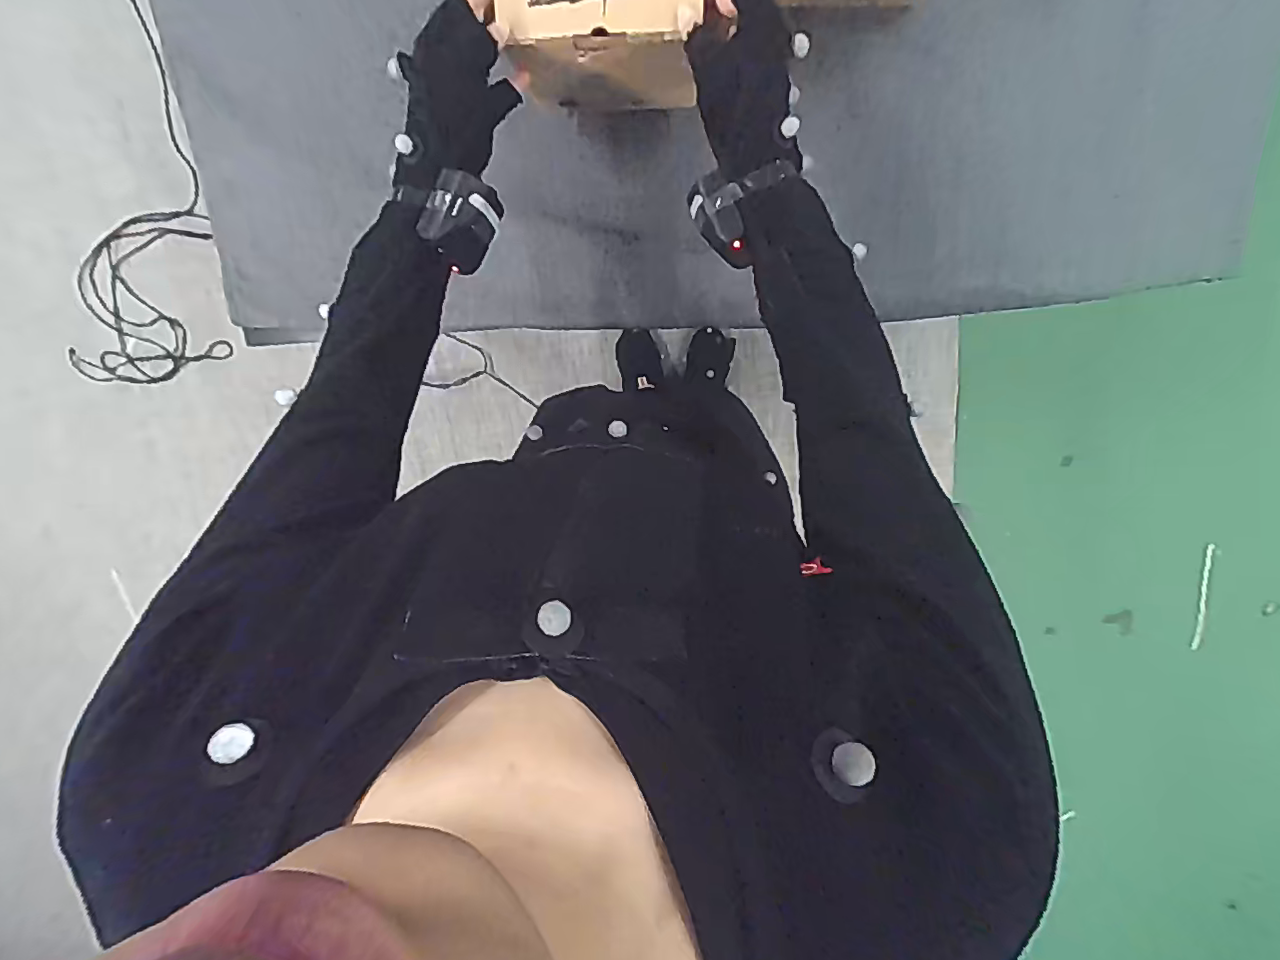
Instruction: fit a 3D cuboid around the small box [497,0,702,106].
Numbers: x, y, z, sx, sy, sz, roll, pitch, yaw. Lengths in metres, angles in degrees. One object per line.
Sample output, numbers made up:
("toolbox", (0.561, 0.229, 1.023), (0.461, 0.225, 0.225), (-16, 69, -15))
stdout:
("small box", (-0.027, -0.457, 0.482), (0.168, 0.176, 0.179), (0, 107, 4))
